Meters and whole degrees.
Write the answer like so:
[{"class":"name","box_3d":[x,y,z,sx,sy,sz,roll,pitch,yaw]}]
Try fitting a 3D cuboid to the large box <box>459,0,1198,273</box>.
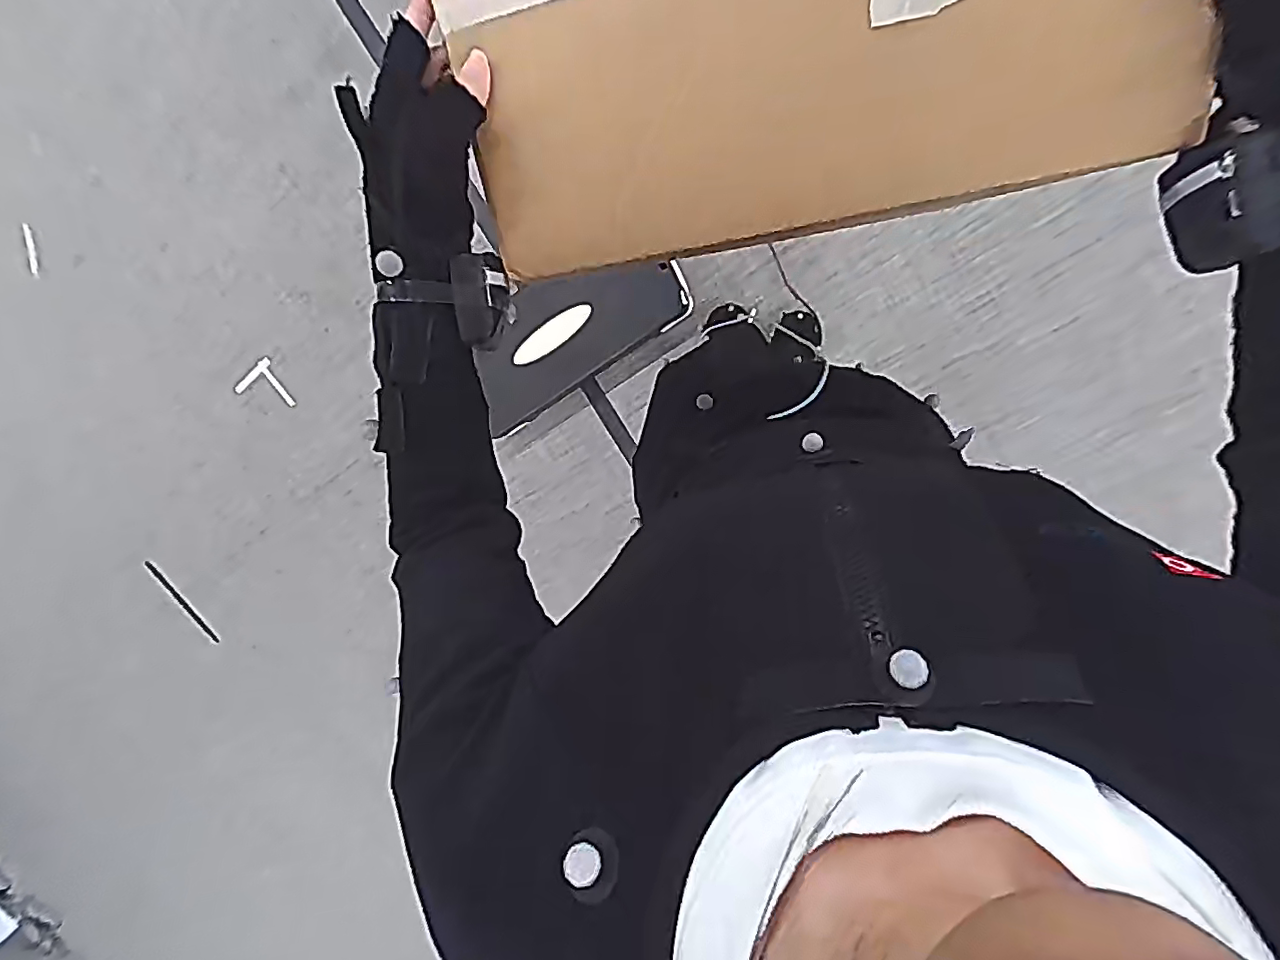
[{"class":"large box","box_3d":[0.103,-0.367,0.429,0.408,0.320,0.320,-7,111,13]}]
